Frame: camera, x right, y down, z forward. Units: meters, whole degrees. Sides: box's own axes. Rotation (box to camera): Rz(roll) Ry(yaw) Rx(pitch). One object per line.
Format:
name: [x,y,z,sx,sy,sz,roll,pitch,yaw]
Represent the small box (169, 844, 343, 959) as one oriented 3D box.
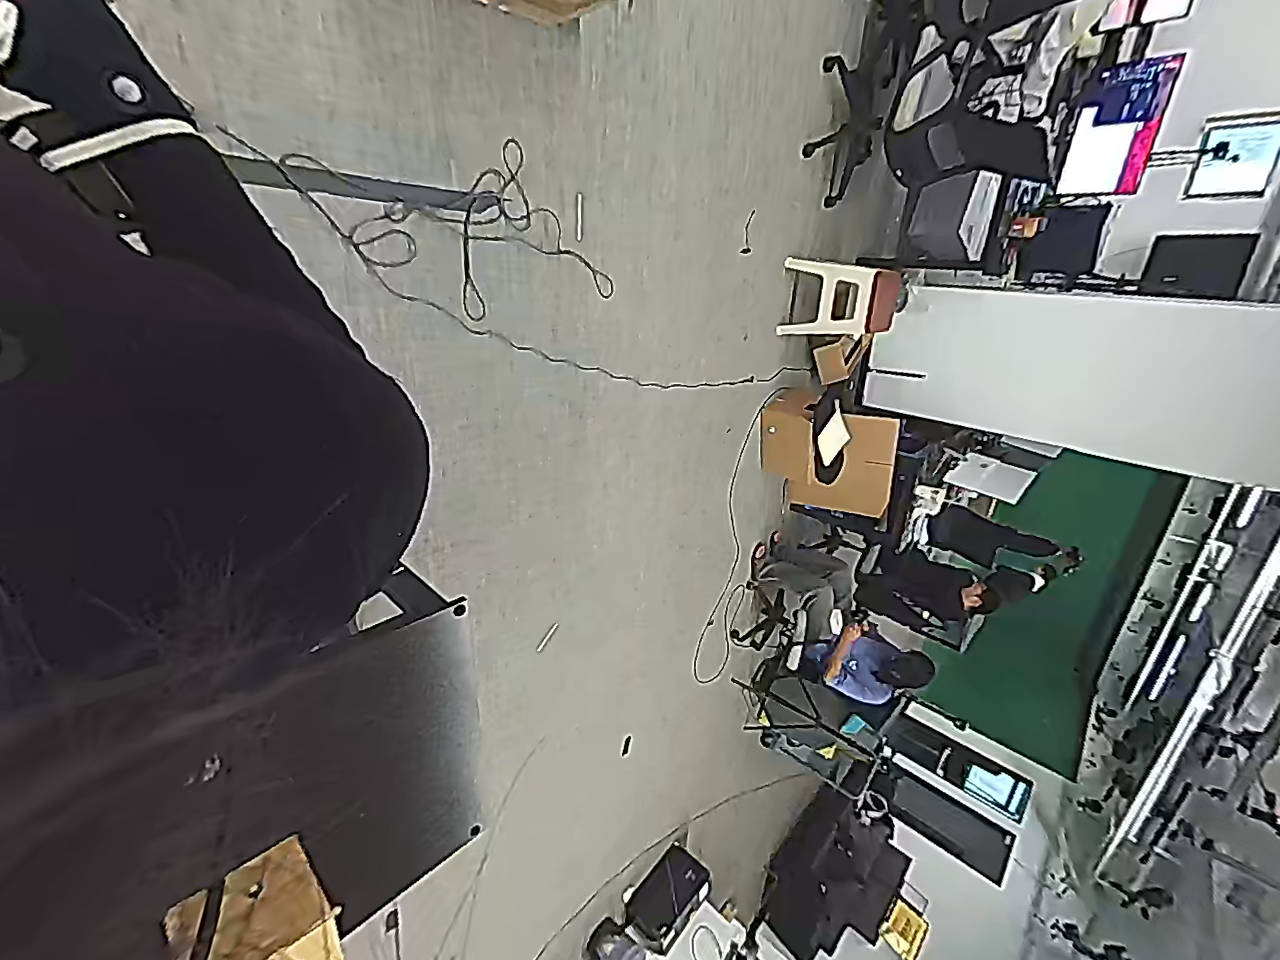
small box: [-0.550,0.690,0.787,0.168,0.176,0.179,-19,120,-44]
